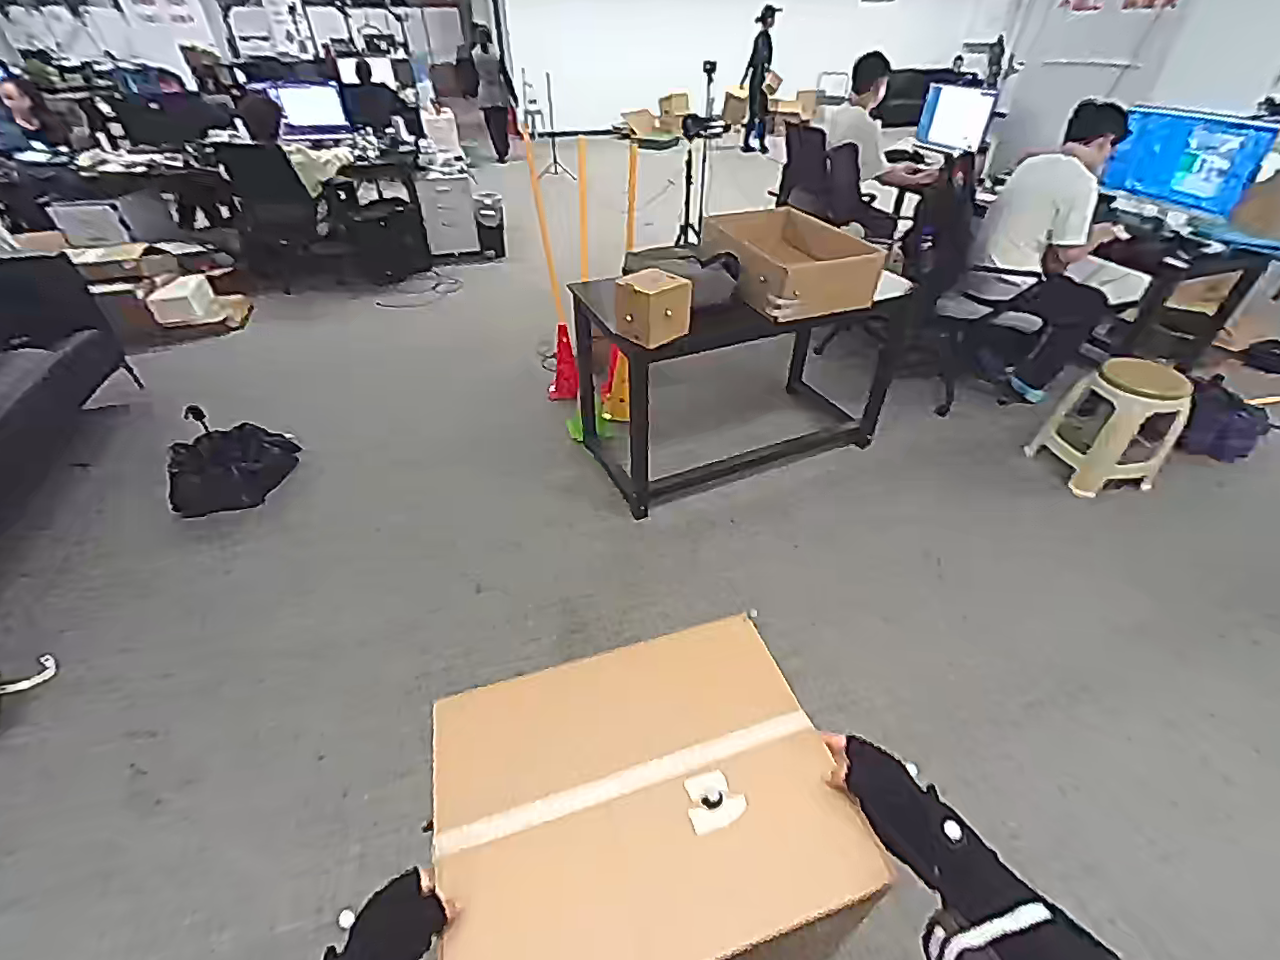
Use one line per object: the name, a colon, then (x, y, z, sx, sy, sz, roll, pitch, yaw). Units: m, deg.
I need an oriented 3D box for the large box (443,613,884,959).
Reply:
large box: (0.003, 0.428, 0.667, 0.408, 0.320, 0.320, -12, 41, -13)
